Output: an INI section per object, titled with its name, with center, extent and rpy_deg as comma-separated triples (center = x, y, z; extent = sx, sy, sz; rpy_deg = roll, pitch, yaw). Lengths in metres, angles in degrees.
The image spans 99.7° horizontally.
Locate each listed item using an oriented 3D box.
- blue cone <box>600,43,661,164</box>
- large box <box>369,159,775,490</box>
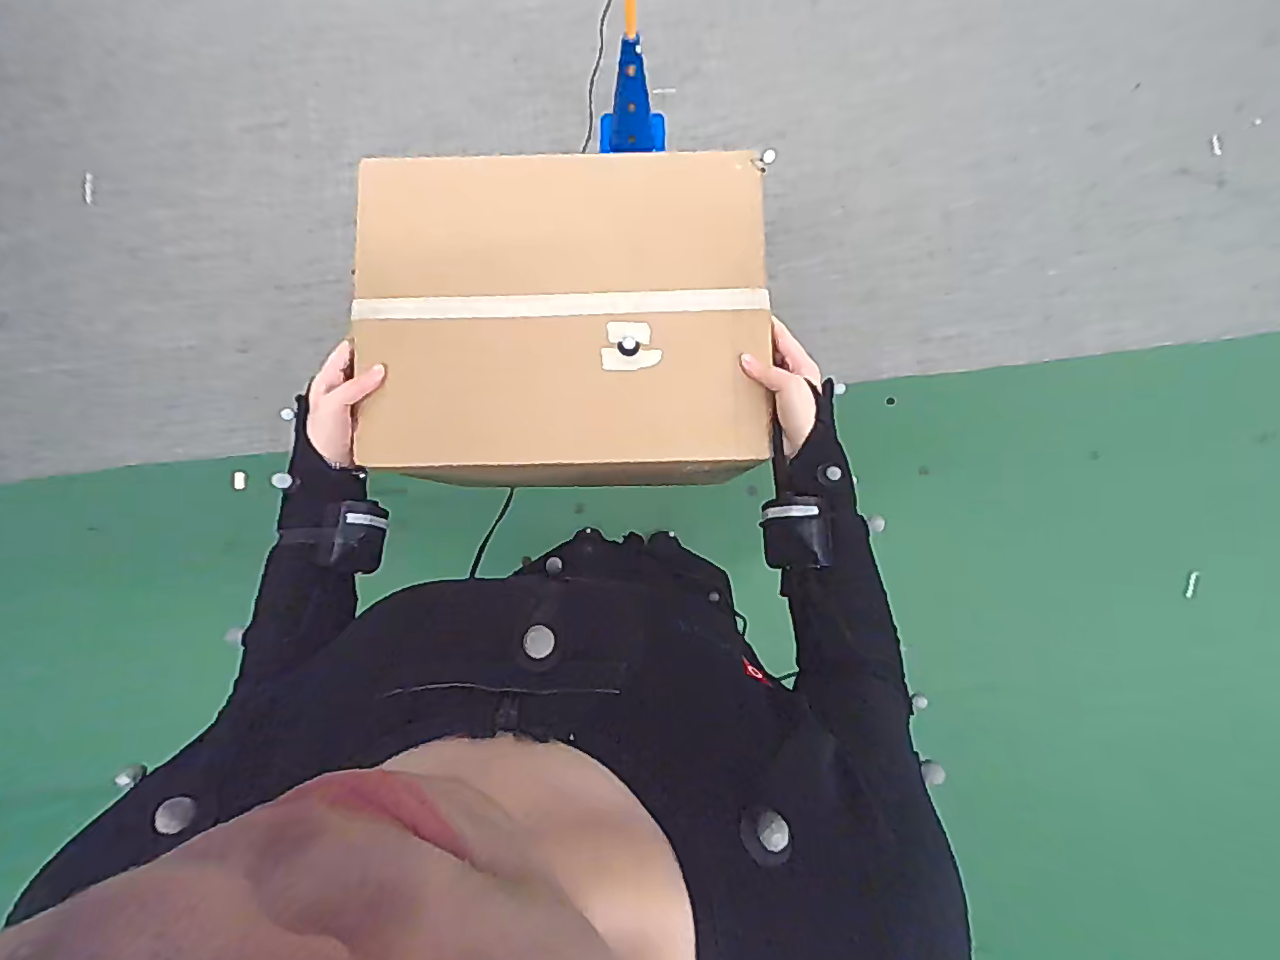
[blue cone]
center = -0.027, -1.039, 1.502
extent = 0.193, 0.380, 0.192
rpy_deg = 1, 84, 0
[large box]
center = -0.074, -0.158, 0.688
extent = 0.408, 0.320, 0.320
rpy_deg = -1, 85, -1
